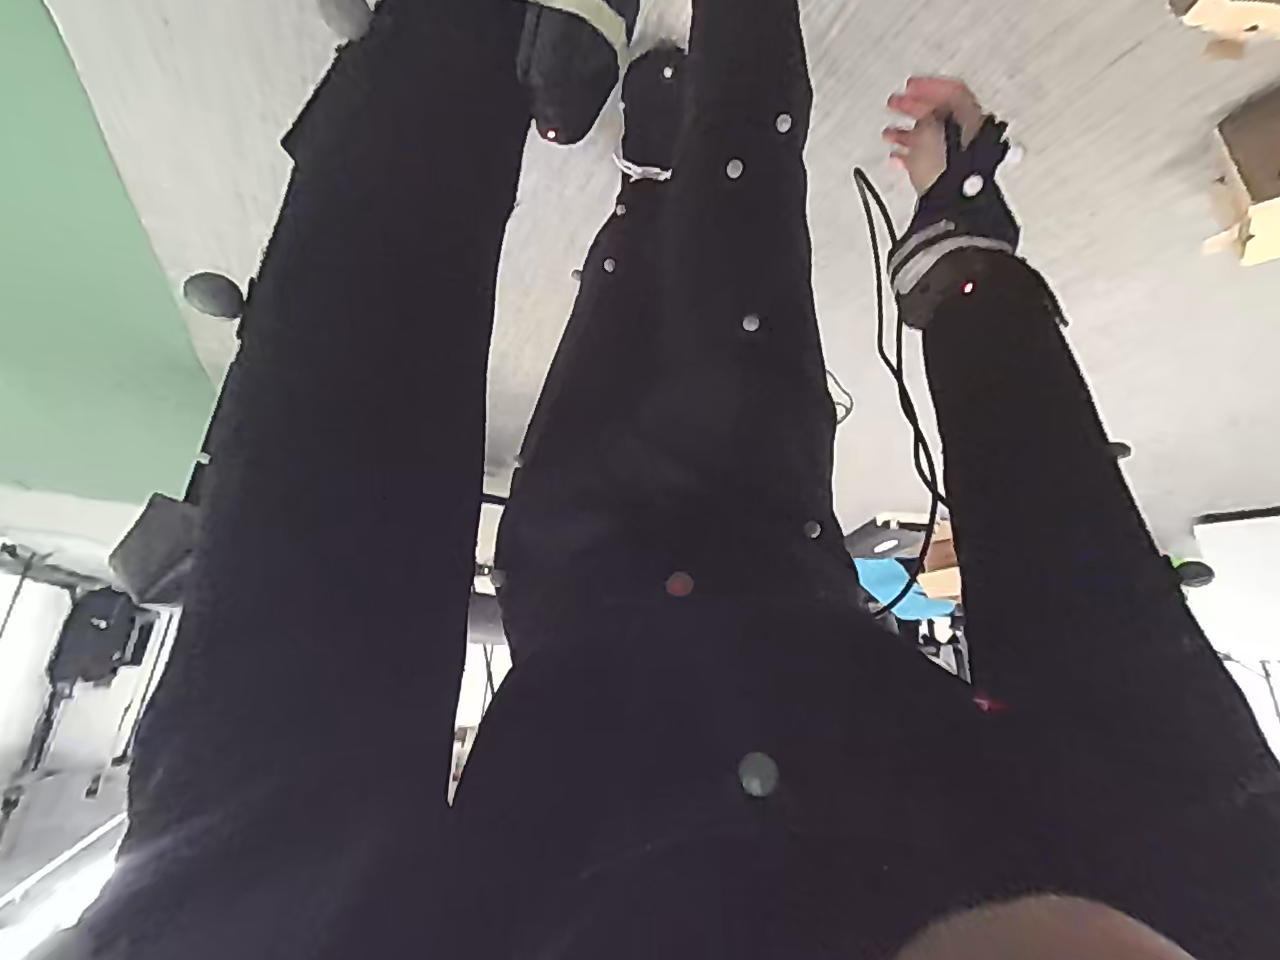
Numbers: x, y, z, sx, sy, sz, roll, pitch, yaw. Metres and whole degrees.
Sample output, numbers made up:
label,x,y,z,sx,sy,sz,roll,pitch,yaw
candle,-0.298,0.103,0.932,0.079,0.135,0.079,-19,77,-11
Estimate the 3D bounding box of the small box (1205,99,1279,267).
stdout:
label,x,y,z,sx,sy,sz,roll,pitch,yaw
small box,0.995,-0.463,0.803,0.179,0.176,0.168,-14,154,39
